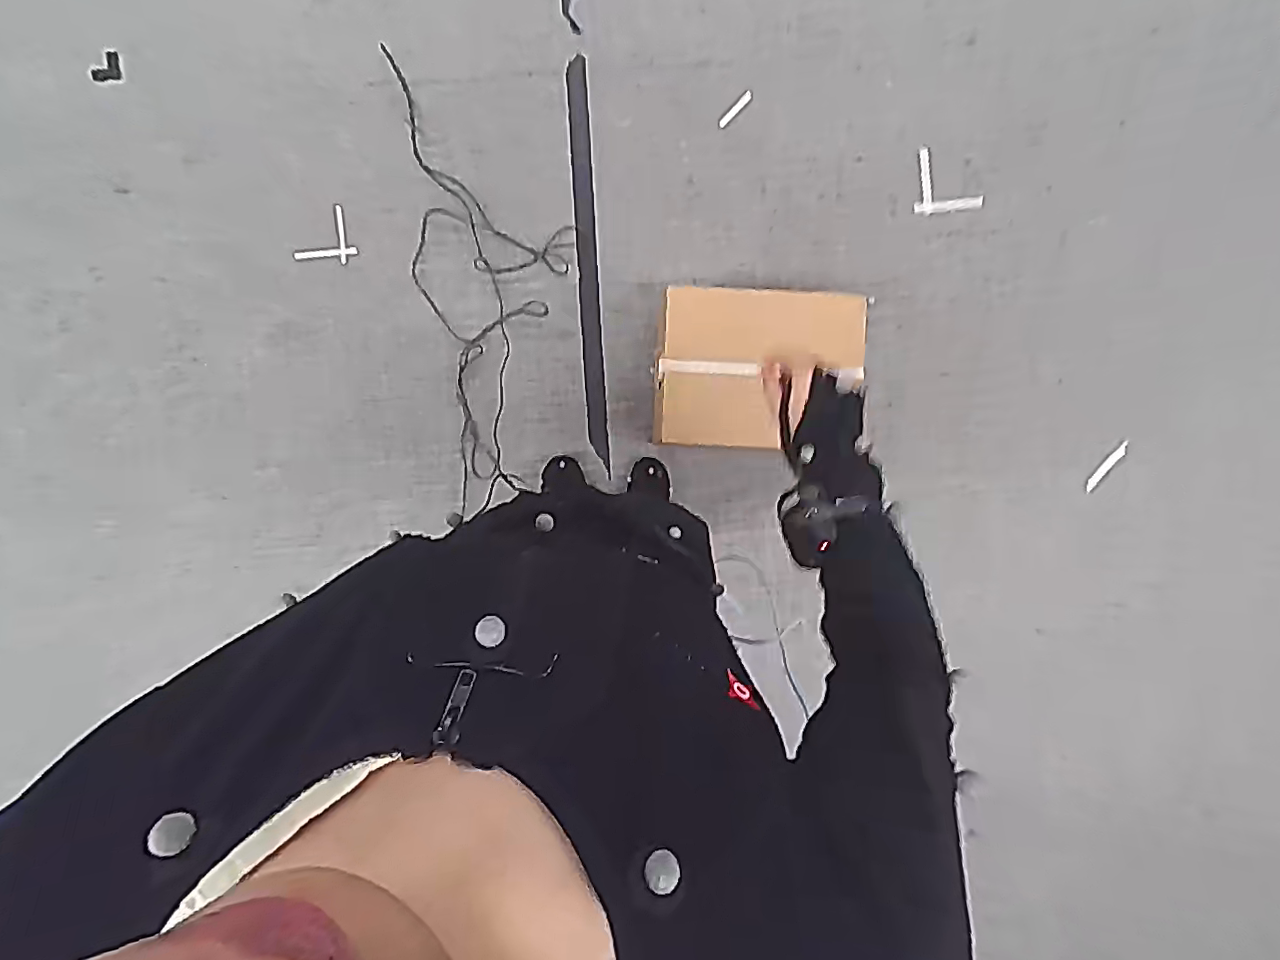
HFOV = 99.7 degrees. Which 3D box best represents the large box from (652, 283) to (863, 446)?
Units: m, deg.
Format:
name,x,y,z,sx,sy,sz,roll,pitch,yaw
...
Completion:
name,x,y,z,sx,sy,sz,roll,pitch,yaw
large box,0.237,-0.238,1.229,0.408,0.320,0.320,2,93,-3
